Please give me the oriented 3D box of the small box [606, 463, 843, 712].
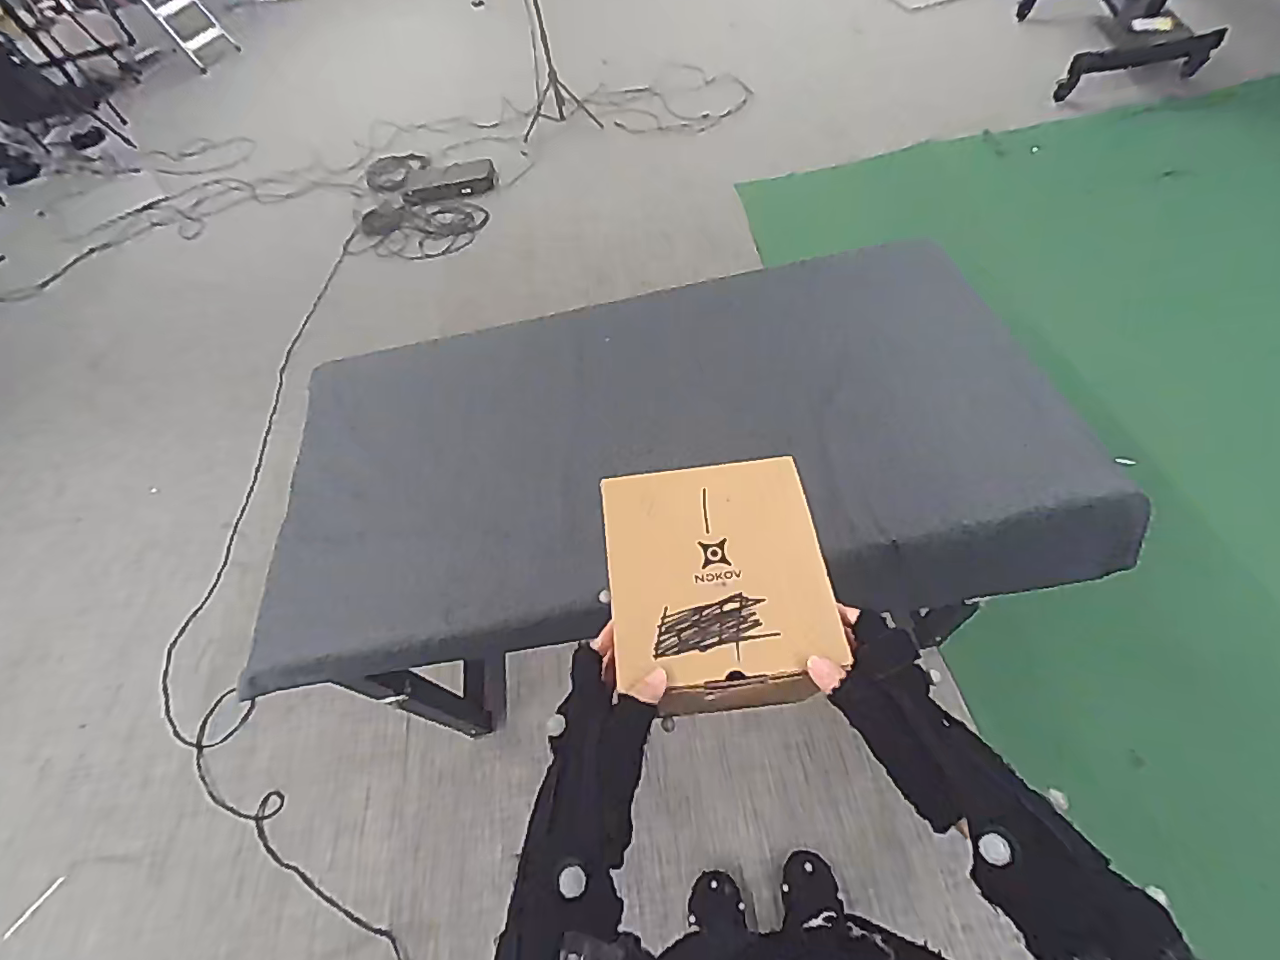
[{"bbox_3d":[0.063,0.108,0.493,0.168,0.176,0.179,-6,60,0],"label":"small box"}]
